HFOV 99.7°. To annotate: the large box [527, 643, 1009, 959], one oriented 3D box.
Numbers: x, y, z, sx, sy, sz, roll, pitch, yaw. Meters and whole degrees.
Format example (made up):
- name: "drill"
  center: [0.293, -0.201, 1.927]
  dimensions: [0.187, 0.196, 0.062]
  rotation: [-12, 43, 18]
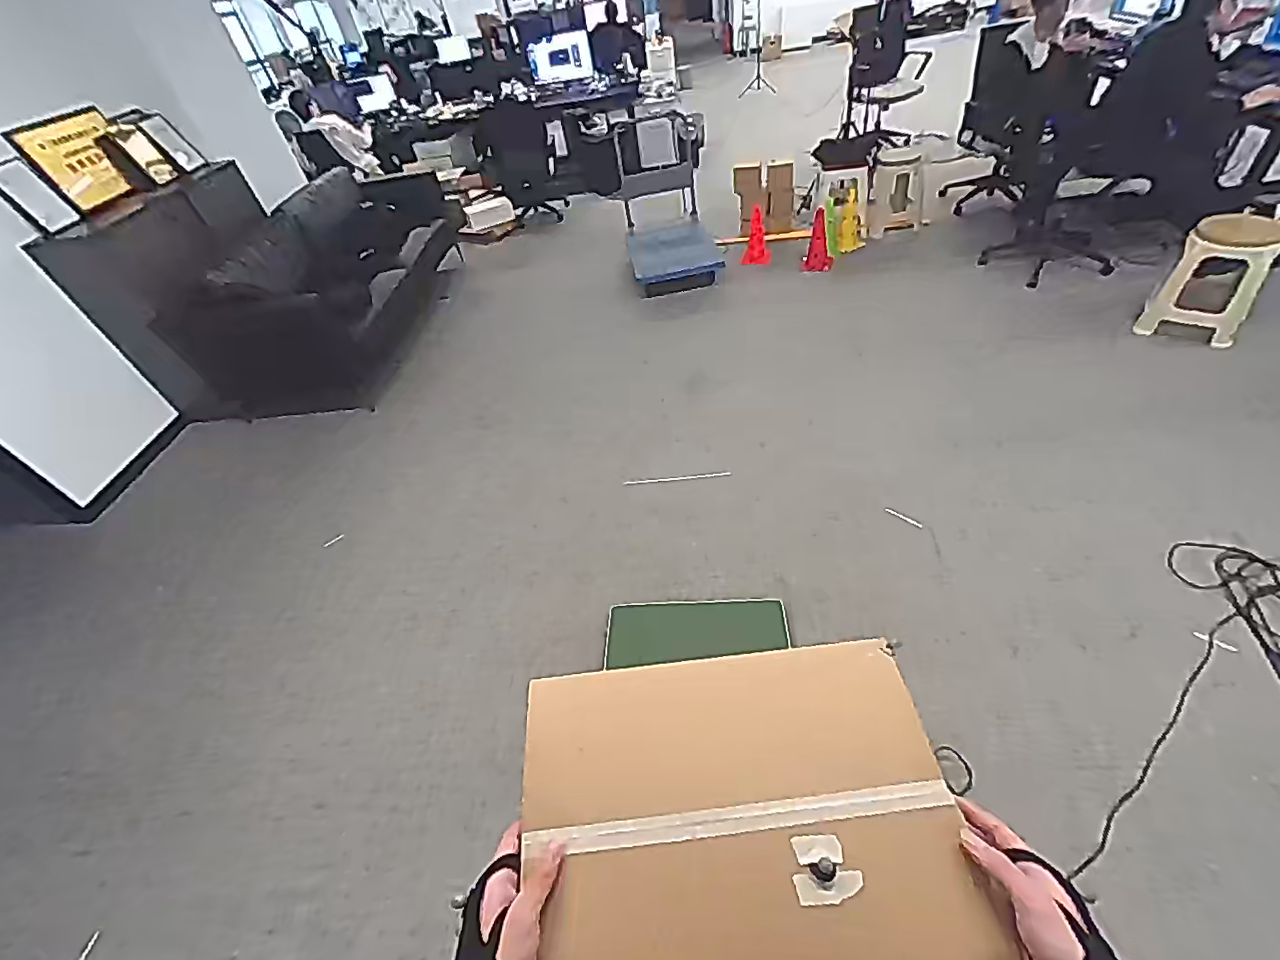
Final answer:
- name: "large box"
  center: [0.099, 0.425, 0.629]
  dimensions: [0.408, 0.320, 0.320]
  rotation: [-7, 49, -1]
